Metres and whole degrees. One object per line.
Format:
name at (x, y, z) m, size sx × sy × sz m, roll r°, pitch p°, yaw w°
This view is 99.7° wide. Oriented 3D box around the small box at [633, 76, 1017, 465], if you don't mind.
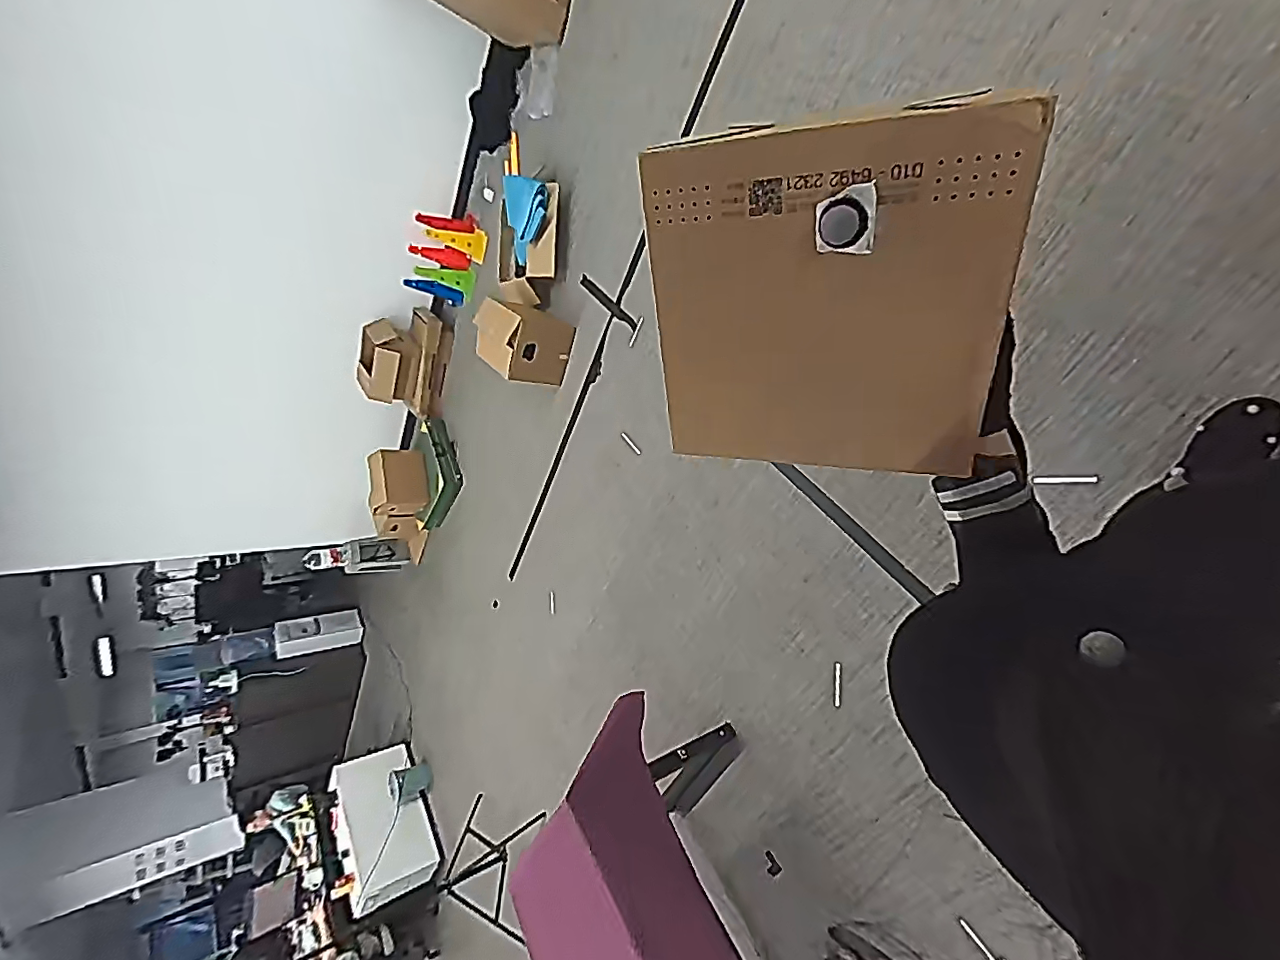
small box at (0.111, -0.131, 0.330) m, size 0.168 × 0.179 × 0.176 m, roll 6°, pitch 126°, yaw 25°
